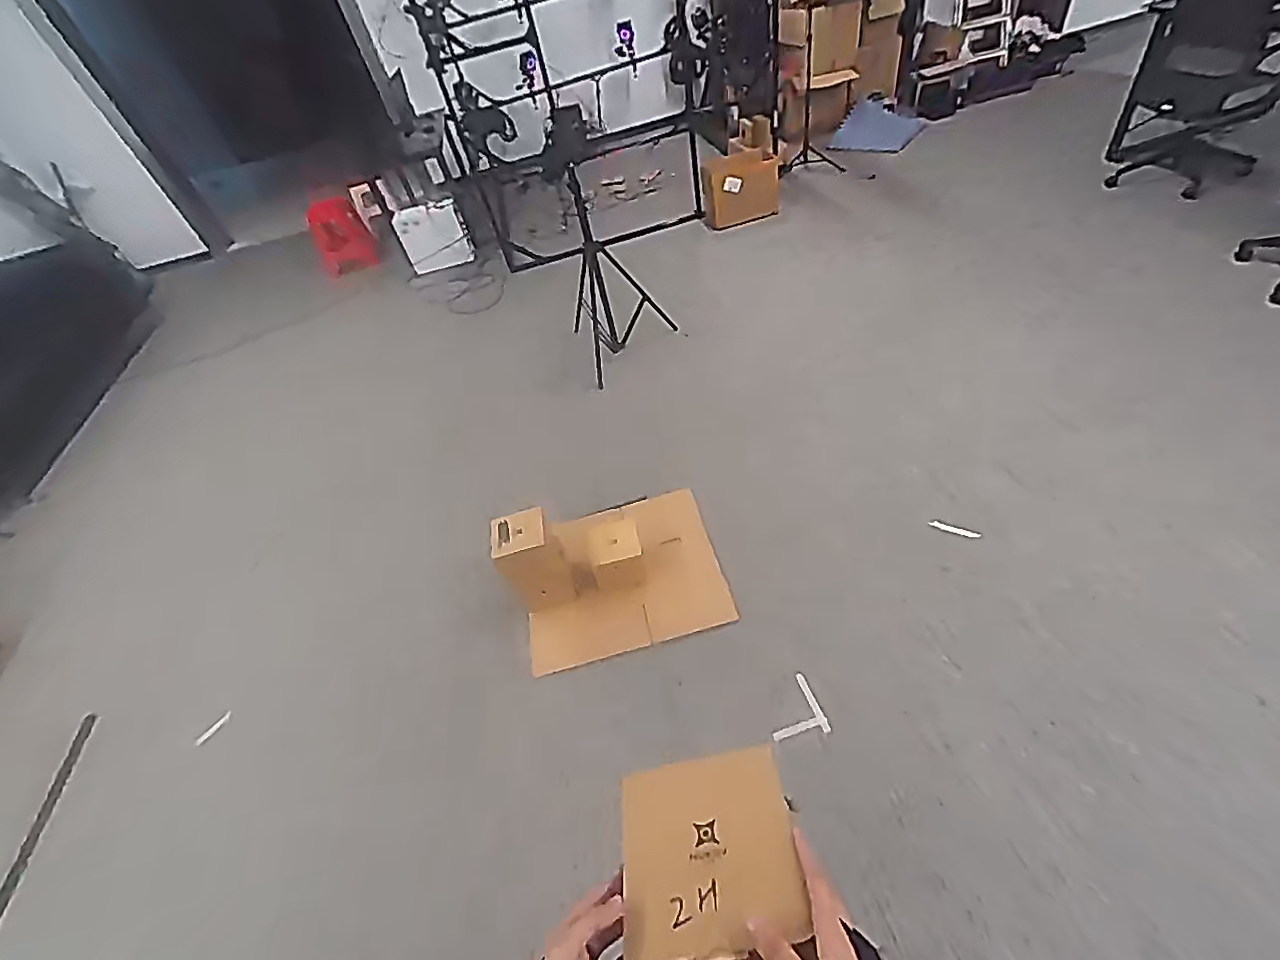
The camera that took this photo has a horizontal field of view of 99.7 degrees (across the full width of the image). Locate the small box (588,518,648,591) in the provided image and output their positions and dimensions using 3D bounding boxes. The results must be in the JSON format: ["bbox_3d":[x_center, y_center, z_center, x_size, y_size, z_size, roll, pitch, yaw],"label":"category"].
[{"bbox_3d":[-0.074,0.265,1.903,0.179,0.176,0.168,-15,46,1],"label":"small box"}]

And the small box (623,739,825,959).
[{"bbox_3d":[0.084,0.407,0.558,0.168,0.176,0.179,-14,29,7],"label":"small box"}]

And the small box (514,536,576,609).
[{"bbox_3d":[-0.332,0.328,1.906,0.179,0.176,0.168,-16,46,0],"label":"small box"}]
